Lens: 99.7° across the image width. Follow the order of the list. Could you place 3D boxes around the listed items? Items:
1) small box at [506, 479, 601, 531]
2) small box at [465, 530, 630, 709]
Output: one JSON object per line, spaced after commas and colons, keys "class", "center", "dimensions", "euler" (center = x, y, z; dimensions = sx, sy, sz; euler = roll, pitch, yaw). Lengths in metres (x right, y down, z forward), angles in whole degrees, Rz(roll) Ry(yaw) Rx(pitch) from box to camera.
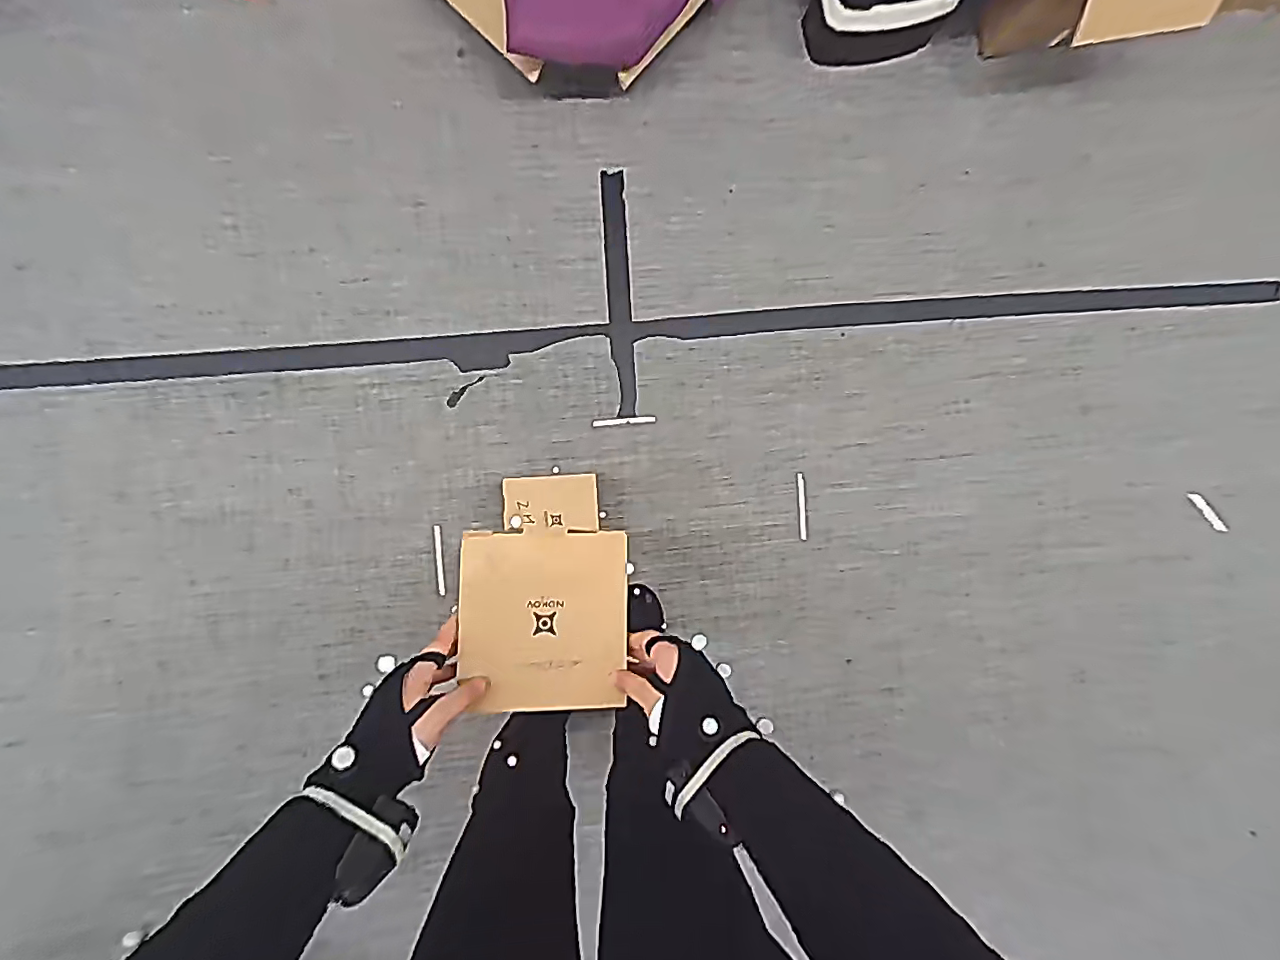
{"class": "small box", "center": [-0.168, 0.084, 1.093], "dimensions": [0.179, 0.176, 0.168], "euler": [-3, 92, -4]}
{"class": "small box", "center": [-0.102, 0.146, 0.627], "dimensions": [0.168, 0.176, 0.179], "euler": [0, 87, -7]}
